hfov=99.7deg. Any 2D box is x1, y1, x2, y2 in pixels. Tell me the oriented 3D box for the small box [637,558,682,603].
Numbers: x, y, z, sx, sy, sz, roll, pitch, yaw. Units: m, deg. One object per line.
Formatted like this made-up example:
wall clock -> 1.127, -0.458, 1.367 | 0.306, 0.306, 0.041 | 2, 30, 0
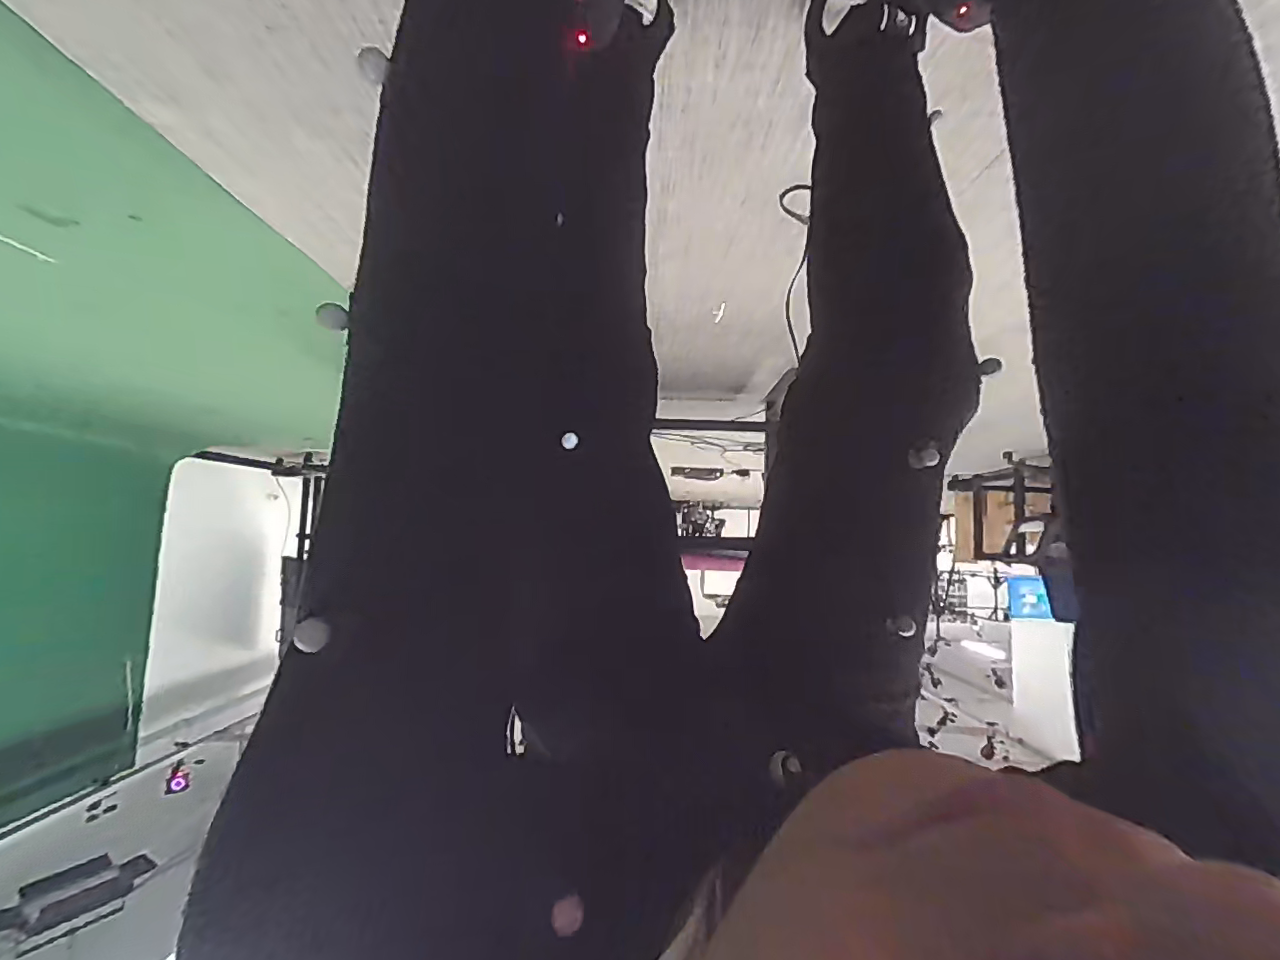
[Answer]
small box -> 0.080, 0.414, 2.244 | 0.179, 0.176, 0.168 | 2, 175, 2
